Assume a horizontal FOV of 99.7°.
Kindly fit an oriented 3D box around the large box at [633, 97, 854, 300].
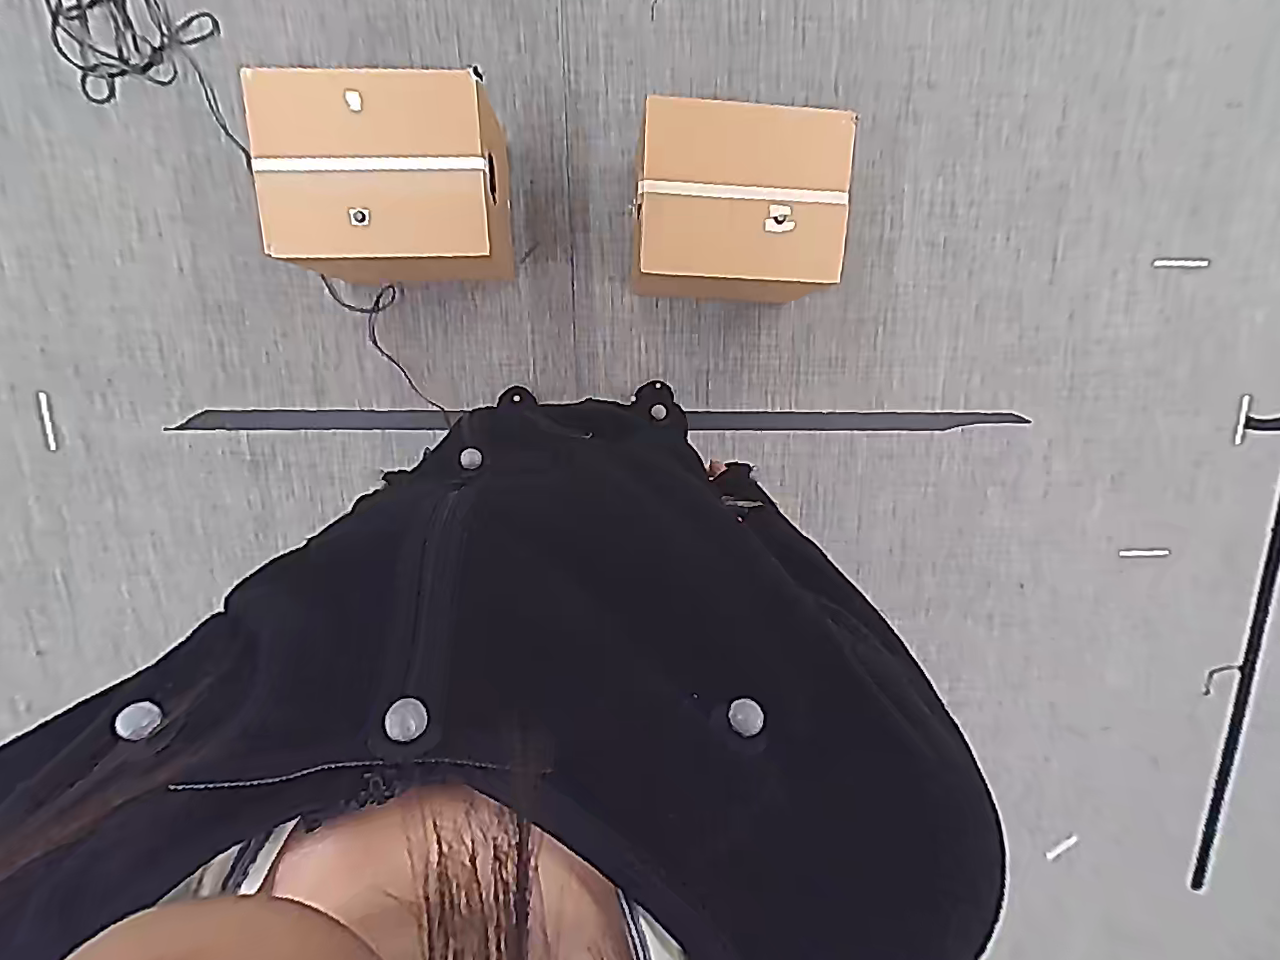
[{"bbox_3d":[0.195,-0.583,1.191,0.408,0.320,0.320,2,101,-6],"label":"large box"}]
